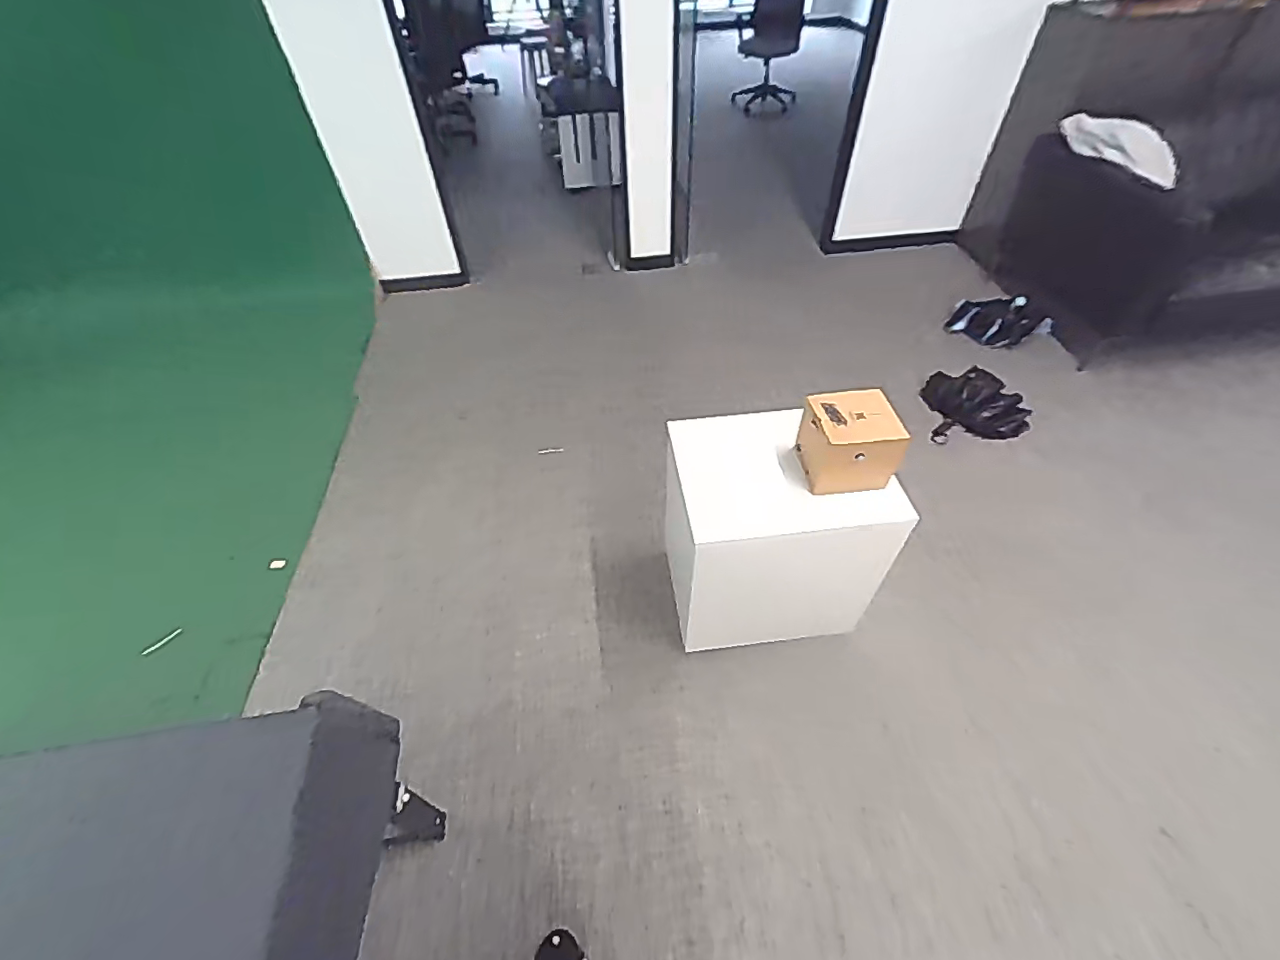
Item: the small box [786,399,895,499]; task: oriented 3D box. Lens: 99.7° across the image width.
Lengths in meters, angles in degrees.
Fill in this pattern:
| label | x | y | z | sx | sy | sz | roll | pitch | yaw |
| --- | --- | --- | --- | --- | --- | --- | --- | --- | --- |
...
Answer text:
| label | x | y | z | sx | sy | sz | roll | pitch | yaw |
| --- | --- | --- | --- | --- | --- | --- | --- | --- | --- |
| small box | 0.451 | -0.069 | 1.259 | 0.179 | 0.176 | 0.168 | -4 | 48 | -6 |
